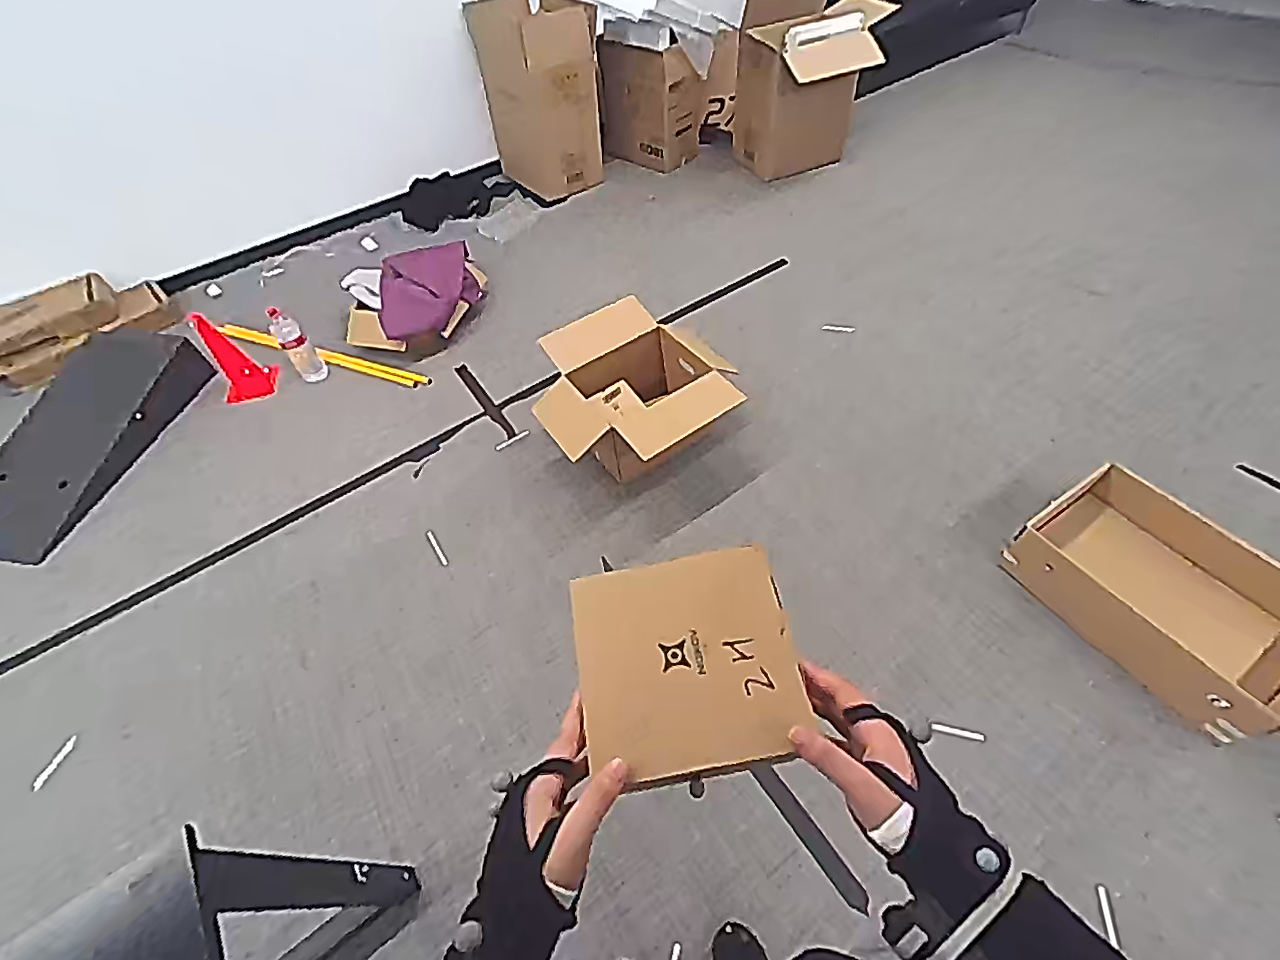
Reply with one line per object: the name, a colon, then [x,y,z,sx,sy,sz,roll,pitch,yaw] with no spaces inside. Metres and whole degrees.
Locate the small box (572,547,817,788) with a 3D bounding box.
small box: [0.044,0.184,0.512,0.179,0.176,0.168,-11,59,-1]
